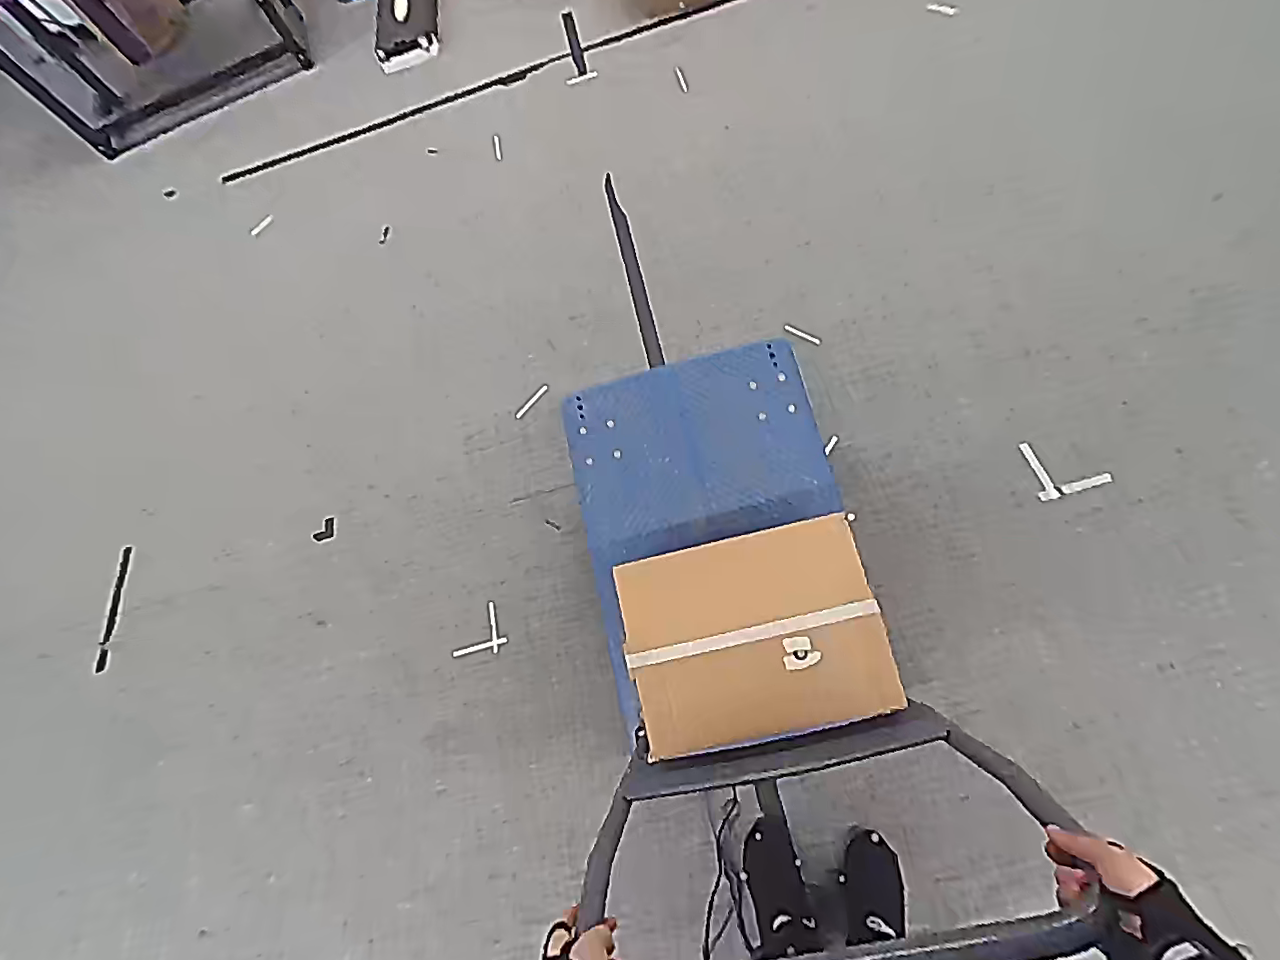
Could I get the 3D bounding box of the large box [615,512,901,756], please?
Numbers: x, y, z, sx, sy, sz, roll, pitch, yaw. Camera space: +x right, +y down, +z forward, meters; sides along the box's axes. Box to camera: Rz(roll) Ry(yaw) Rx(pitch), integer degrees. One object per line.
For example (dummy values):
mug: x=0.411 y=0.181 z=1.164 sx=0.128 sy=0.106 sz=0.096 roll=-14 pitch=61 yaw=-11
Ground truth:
large box: x=0.199 y=0.280 z=1.030 sx=0.408 sy=0.320 sz=0.320 roll=-15 pitch=78 yaw=4
